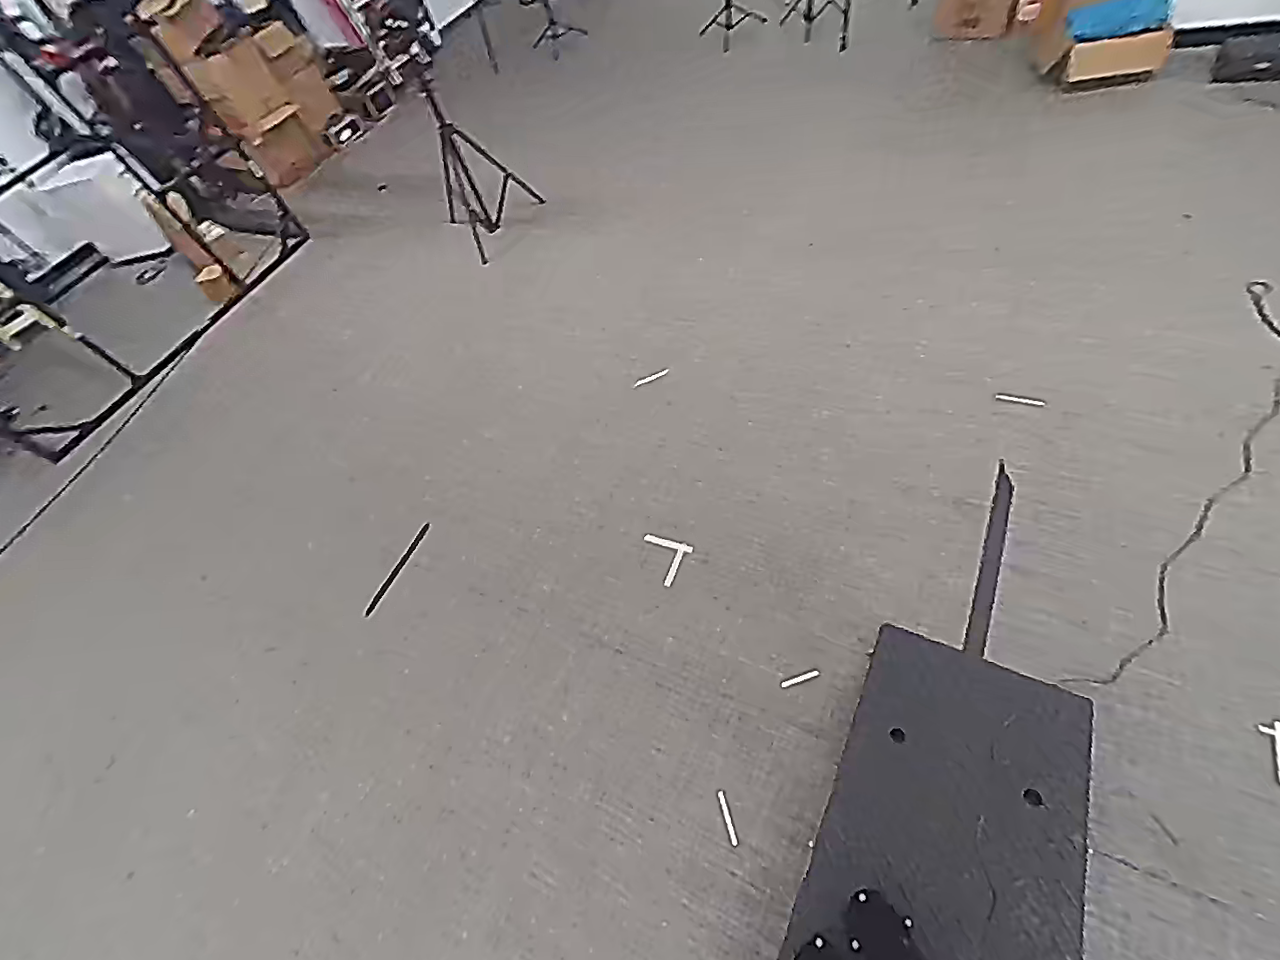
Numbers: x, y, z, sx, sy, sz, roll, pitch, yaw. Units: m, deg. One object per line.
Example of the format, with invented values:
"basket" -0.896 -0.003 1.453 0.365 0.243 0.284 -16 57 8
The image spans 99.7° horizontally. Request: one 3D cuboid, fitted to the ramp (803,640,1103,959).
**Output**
"ramp" 0.667 0.835 1.138 0.509 0.206 0.991 13 59 26
